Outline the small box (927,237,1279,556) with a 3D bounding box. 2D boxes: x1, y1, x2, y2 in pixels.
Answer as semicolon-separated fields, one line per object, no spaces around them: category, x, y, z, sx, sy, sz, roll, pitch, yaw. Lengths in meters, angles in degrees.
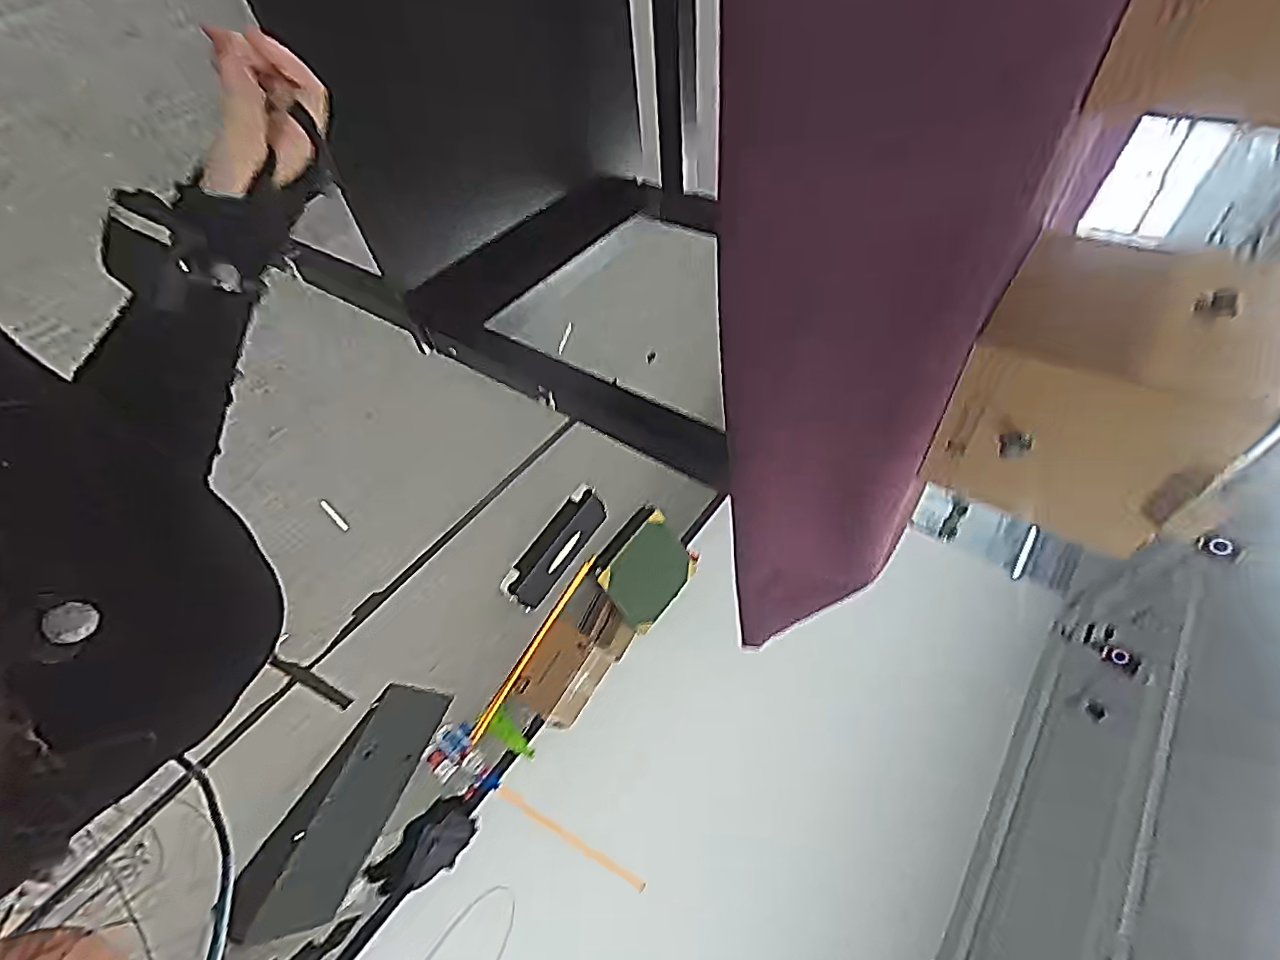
small box;0.372;-0.077;0.452;0.179;0.176;0.168;-49;149;-26
